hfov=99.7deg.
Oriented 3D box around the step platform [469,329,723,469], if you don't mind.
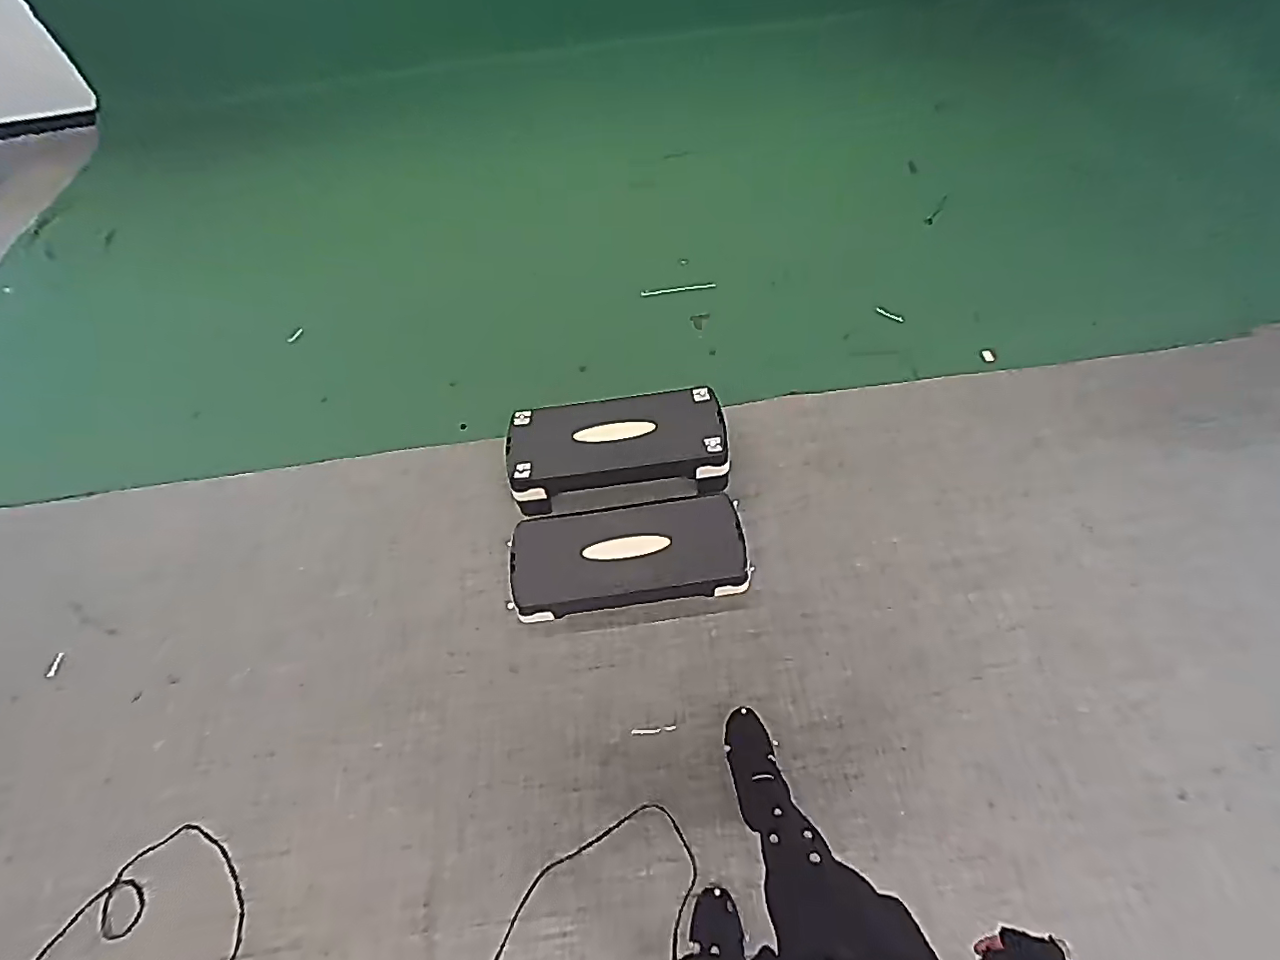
[{"bbox_3d":[-0.116,-0.227,1.536,0.684,0.204,0.286,-8,57,0],"label":"step platform"}]
